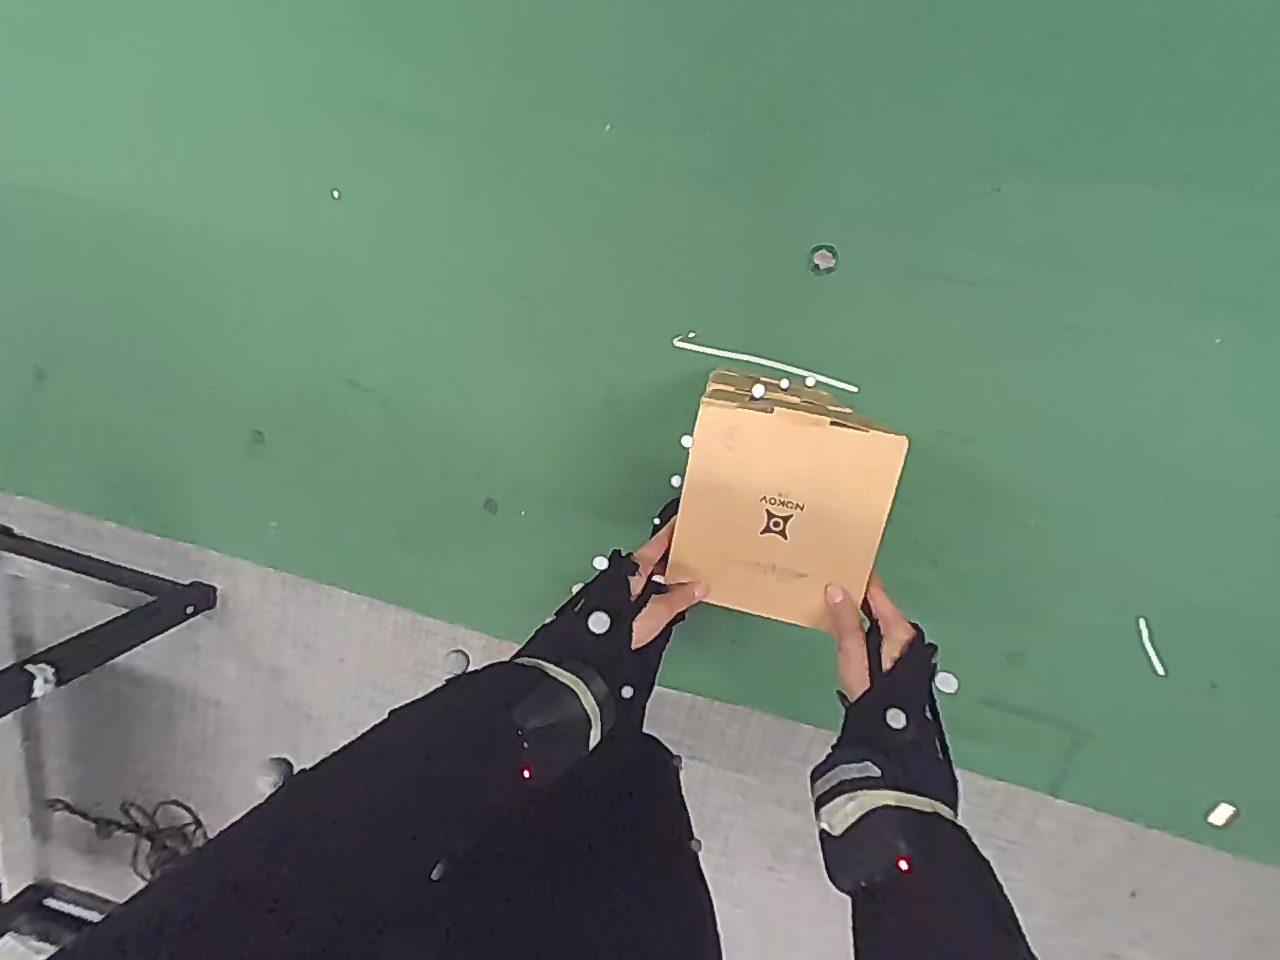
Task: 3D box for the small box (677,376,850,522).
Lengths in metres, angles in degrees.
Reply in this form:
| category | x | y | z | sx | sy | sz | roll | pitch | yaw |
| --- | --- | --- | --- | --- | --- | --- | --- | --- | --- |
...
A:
| category | x | y | z | sx | sy | sz | roll | pitch | yaw |
| --- | --- | --- | --- | --- | --- | --- | --- | --- | --- |
| small box | 0.151 | -0.030 | 0.699 | 0.168 | 0.176 | 0.179 | 12 | 105 | 5 |

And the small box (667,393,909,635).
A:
| category | x | y | z | sx | sy | sz | roll | pitch | yaw |
| --- | --- | --- | --- | --- | --- | --- | --- | --- | --- |
| small box | 0.130 | 0.016 | 0.522 | 0.168 | 0.176 | 0.179 | 12 | 104 | 9 |
